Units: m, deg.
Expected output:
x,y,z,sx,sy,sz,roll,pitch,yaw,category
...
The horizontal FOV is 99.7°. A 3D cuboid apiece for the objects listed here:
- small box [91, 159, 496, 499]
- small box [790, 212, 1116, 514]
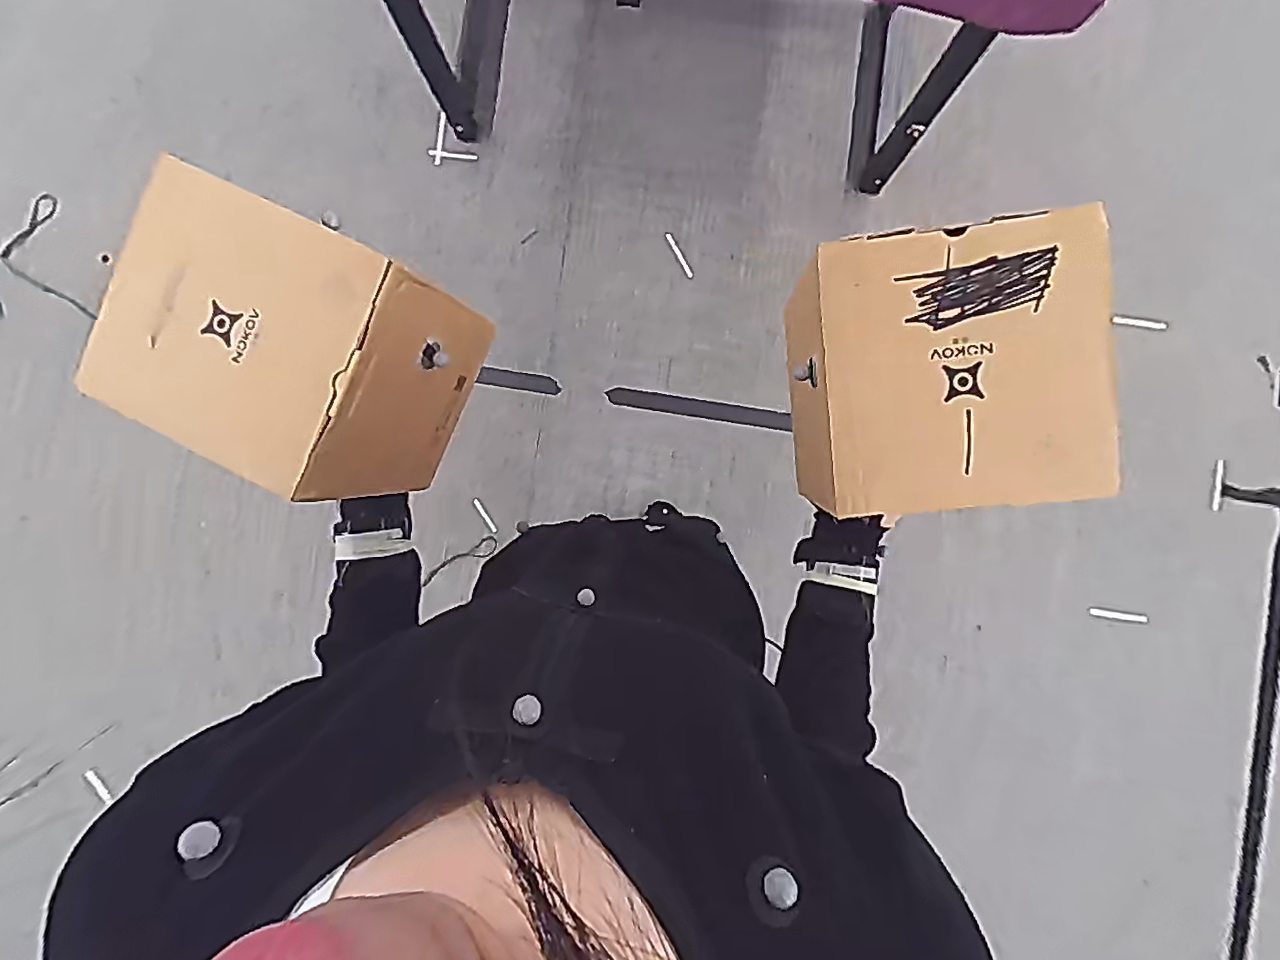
x,y,z,sx,sy,sz,roll,pitch,yaw,category
-0.241,-0.099,0.422,0.179,0.176,0.168,26,94,6,small box
0.214,-0.074,0.417,0.168,0.176,0.179,-5,94,8,small box
